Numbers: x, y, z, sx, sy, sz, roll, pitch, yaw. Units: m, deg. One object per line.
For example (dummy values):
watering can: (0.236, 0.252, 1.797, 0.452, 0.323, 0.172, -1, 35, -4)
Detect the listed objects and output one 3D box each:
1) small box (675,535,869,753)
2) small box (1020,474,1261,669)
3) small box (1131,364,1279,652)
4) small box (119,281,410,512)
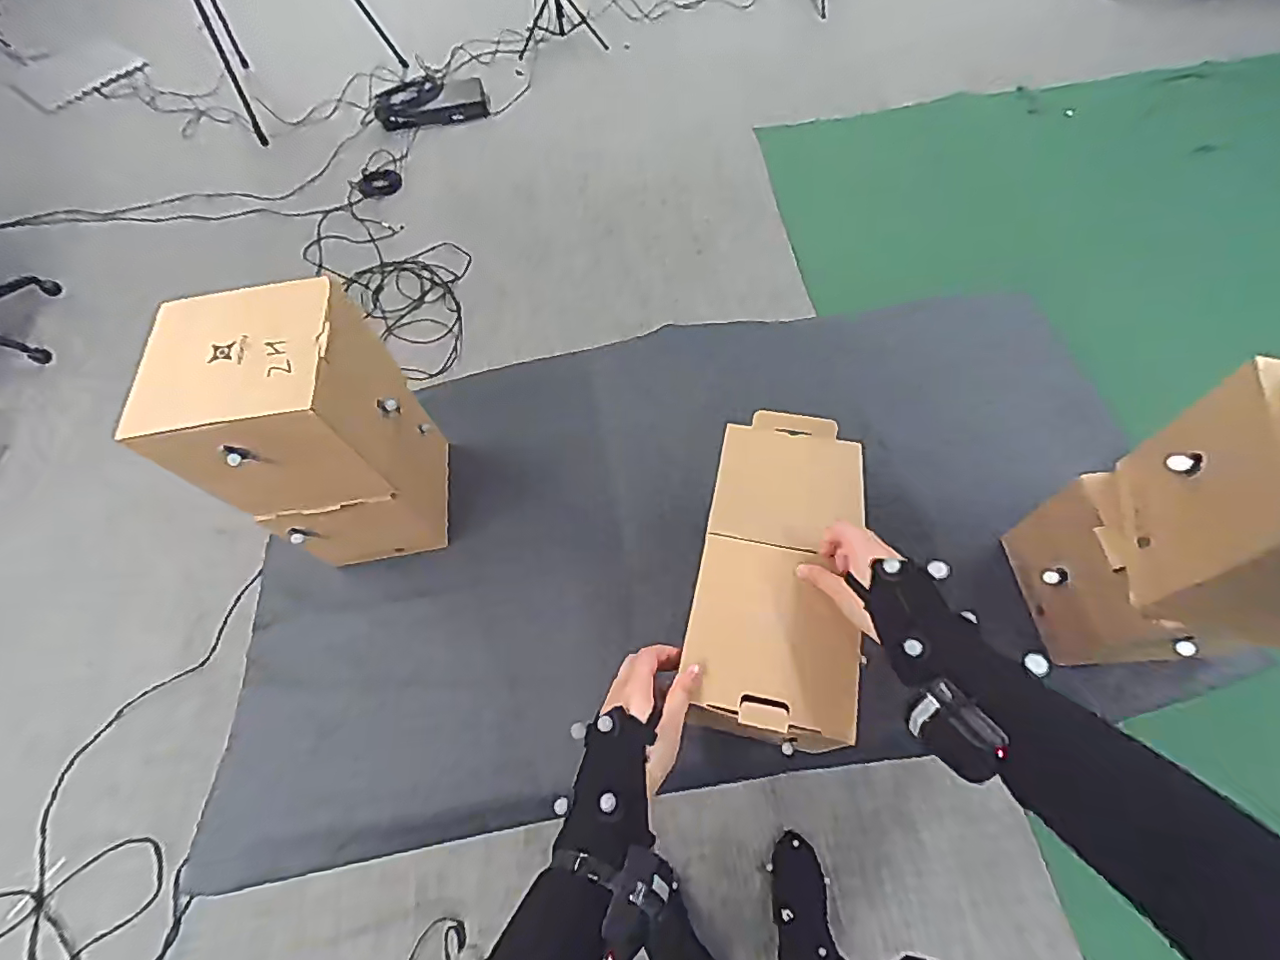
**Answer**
small box: (0.136, 0.184, 0.587, 0.168, 0.176, 0.179, 10, 62, 9)
small box: (0.556, 0.103, 0.588, 0.179, 0.176, 0.168, -5, 60, 3)
small box: (0.548, 0.036, 0.438, 0.179, 0.176, 0.168, 15, 62, 12)
small box: (-0.371, -0.078, 0.574, 0.179, 0.176, 0.168, -9, 63, -1)
